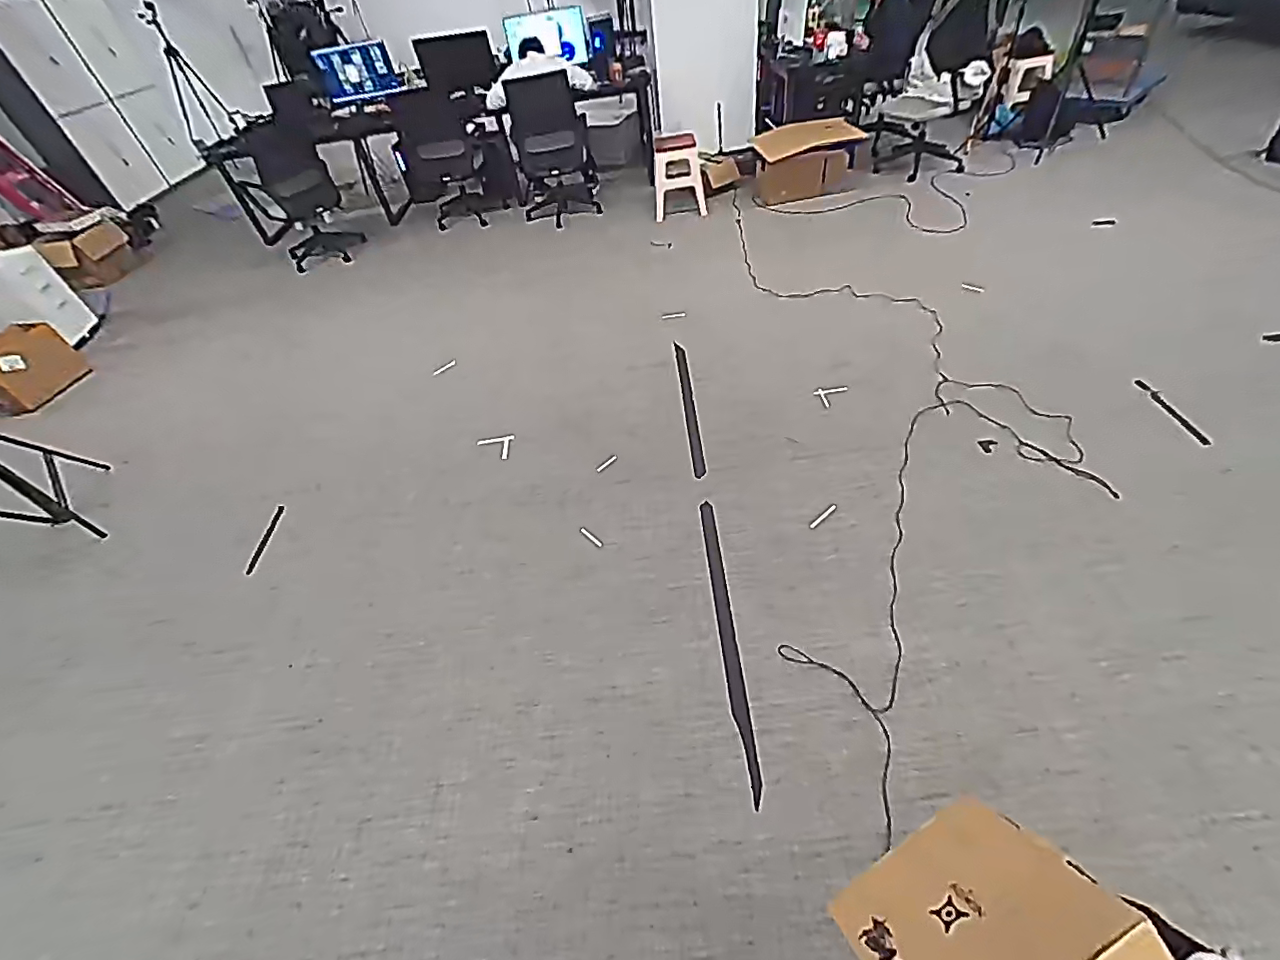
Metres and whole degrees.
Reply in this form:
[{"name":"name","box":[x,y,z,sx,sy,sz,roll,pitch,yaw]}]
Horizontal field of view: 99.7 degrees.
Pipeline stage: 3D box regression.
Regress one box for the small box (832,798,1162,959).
[{"name":"small box","box":[0.300,0.415,0.437,0.179,0.168,0.176,-31,88,-7]}]
